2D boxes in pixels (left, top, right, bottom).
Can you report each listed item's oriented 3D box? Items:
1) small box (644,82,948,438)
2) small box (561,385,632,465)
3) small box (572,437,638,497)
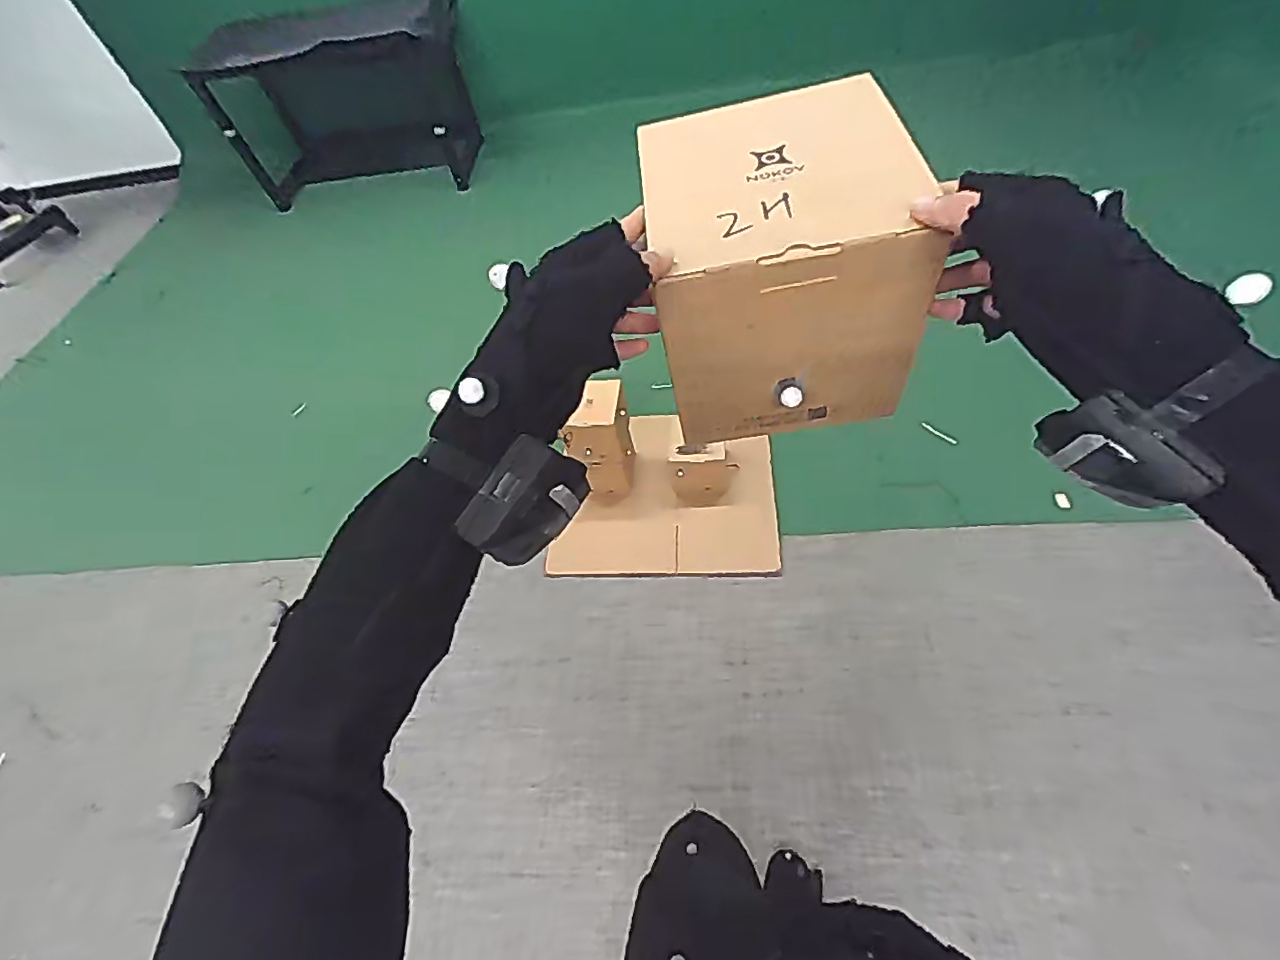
[{"bbox_3d":[0.099,-0.157,0.413,0.168,0.176,0.179,-8,57,8],"label":"small box"},{"bbox_3d":[-0.122,-0.160,1.606,0.168,0.176,0.179,0,55,10],"label":"small box"},{"bbox_3d":[-0.105,-0.056,1.730,0.168,0.176,0.179,-1,53,10],"label":"small box"}]
